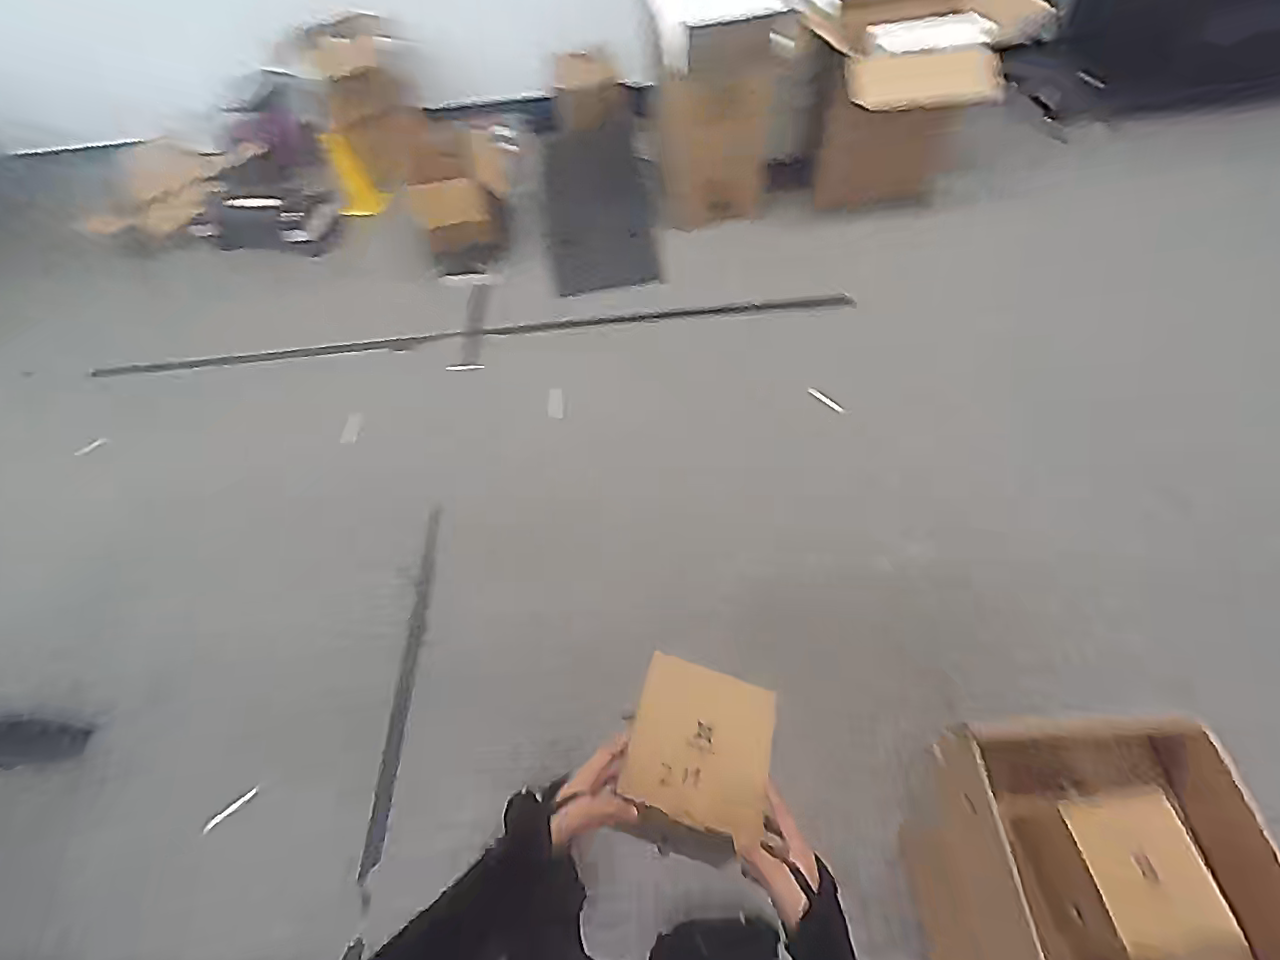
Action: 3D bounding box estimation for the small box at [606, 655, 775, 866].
[{"bbox_3d":[0.061,0.360,0.692,0.168,0.176,0.179,17,48,4],"label":"small box"}]
